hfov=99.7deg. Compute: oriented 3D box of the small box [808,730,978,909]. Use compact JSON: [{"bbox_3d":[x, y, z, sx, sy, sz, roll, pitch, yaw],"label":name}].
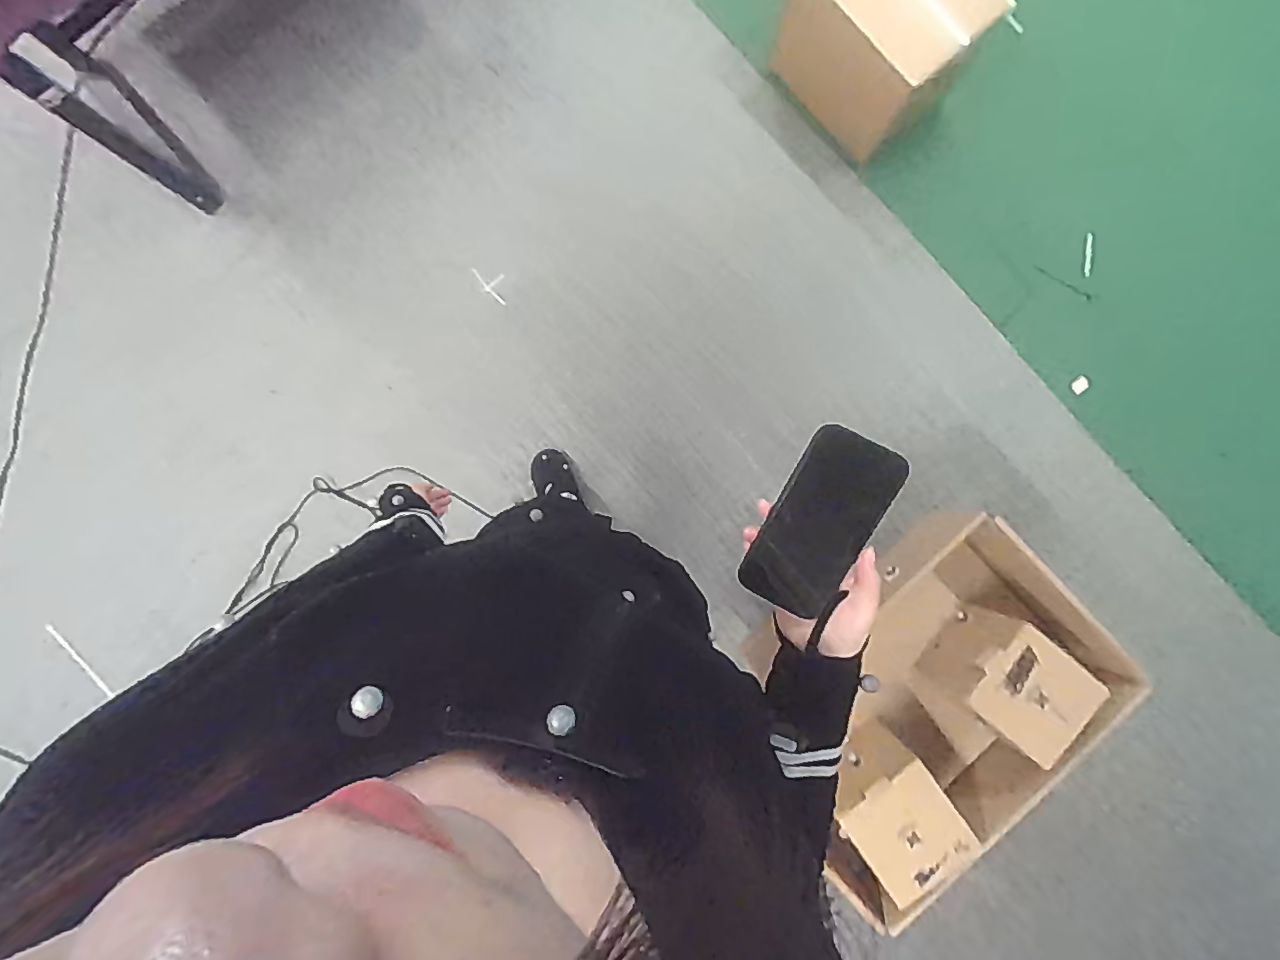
[{"bbox_3d":[0.420,0.564,0.934,0.168,0.176,0.179,-35,87,-1],"label":"small box"}]
